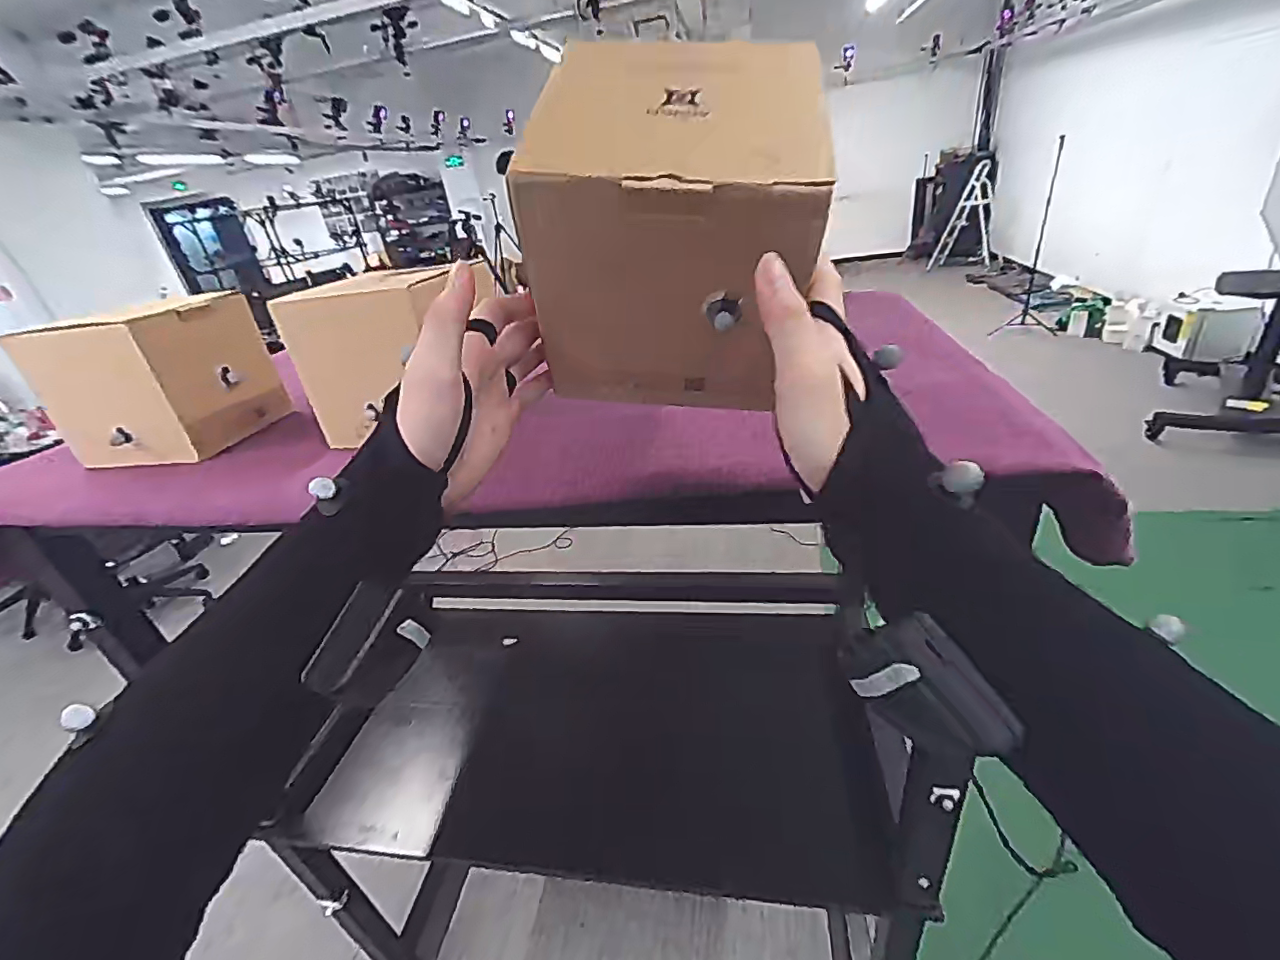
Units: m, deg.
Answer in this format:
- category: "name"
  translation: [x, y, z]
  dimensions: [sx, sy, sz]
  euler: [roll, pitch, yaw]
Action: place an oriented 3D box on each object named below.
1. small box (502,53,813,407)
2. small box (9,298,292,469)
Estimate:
- category: "small box"
  translation: [0.021, -0.170, 0.386]
  dimensions: [0.168, 0.176, 0.179]
  euler: [5, 56, 6]
- category: "small box"
  translation: [-0.598, -0.124, 0.691]
  dimensions: [0.179, 0.176, 0.168]
  euler: [-3, 28, 10]
